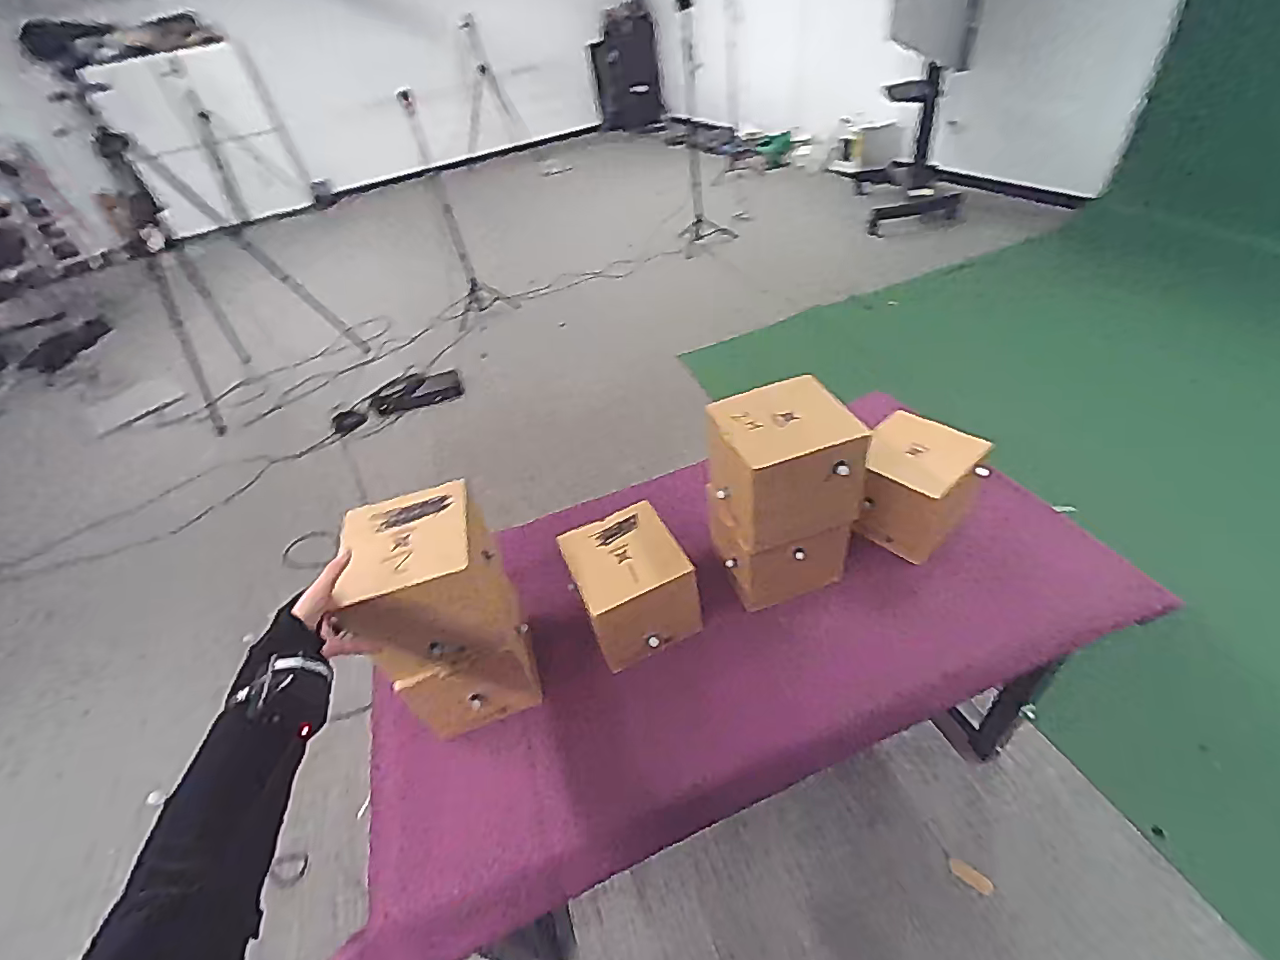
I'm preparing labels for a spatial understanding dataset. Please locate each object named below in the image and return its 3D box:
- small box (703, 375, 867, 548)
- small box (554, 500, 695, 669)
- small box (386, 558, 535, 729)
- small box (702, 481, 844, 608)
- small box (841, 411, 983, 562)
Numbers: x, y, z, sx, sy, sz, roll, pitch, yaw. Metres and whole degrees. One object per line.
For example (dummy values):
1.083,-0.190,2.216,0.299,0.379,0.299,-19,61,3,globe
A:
0.205,-0.027,0.807,0.179,0.176,0.168,-17,42,-7,small box
-0.023,0.170,0.883,0.168,0.176,0.179,-23,43,-13,small box
-0.272,0.259,0.837,0.168,0.176,0.179,-19,43,-9,small box
0.221,0.090,0.921,0.179,0.176,0.168,-17,42,-7,small box
0.465,0.011,0.957,0.179,0.176,0.168,-35,46,-25,small box
